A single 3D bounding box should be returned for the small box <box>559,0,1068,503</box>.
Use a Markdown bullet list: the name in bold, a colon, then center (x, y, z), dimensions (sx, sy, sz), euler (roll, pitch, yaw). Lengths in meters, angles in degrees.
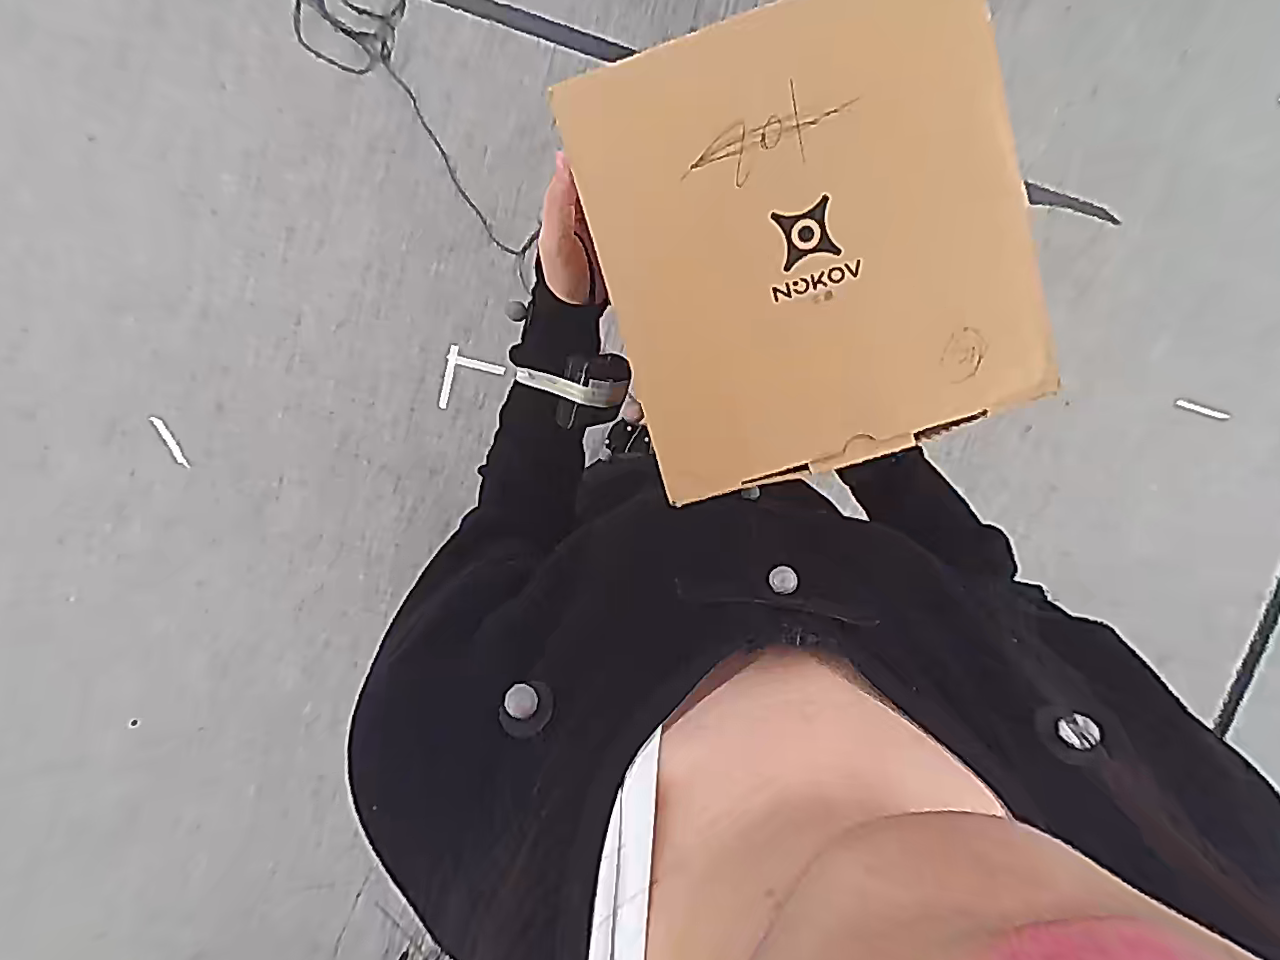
- **small box**: center (0.075, -0.105, 0.294), dimensions (0.168, 0.176, 0.179), euler (-18, 97, 5)
